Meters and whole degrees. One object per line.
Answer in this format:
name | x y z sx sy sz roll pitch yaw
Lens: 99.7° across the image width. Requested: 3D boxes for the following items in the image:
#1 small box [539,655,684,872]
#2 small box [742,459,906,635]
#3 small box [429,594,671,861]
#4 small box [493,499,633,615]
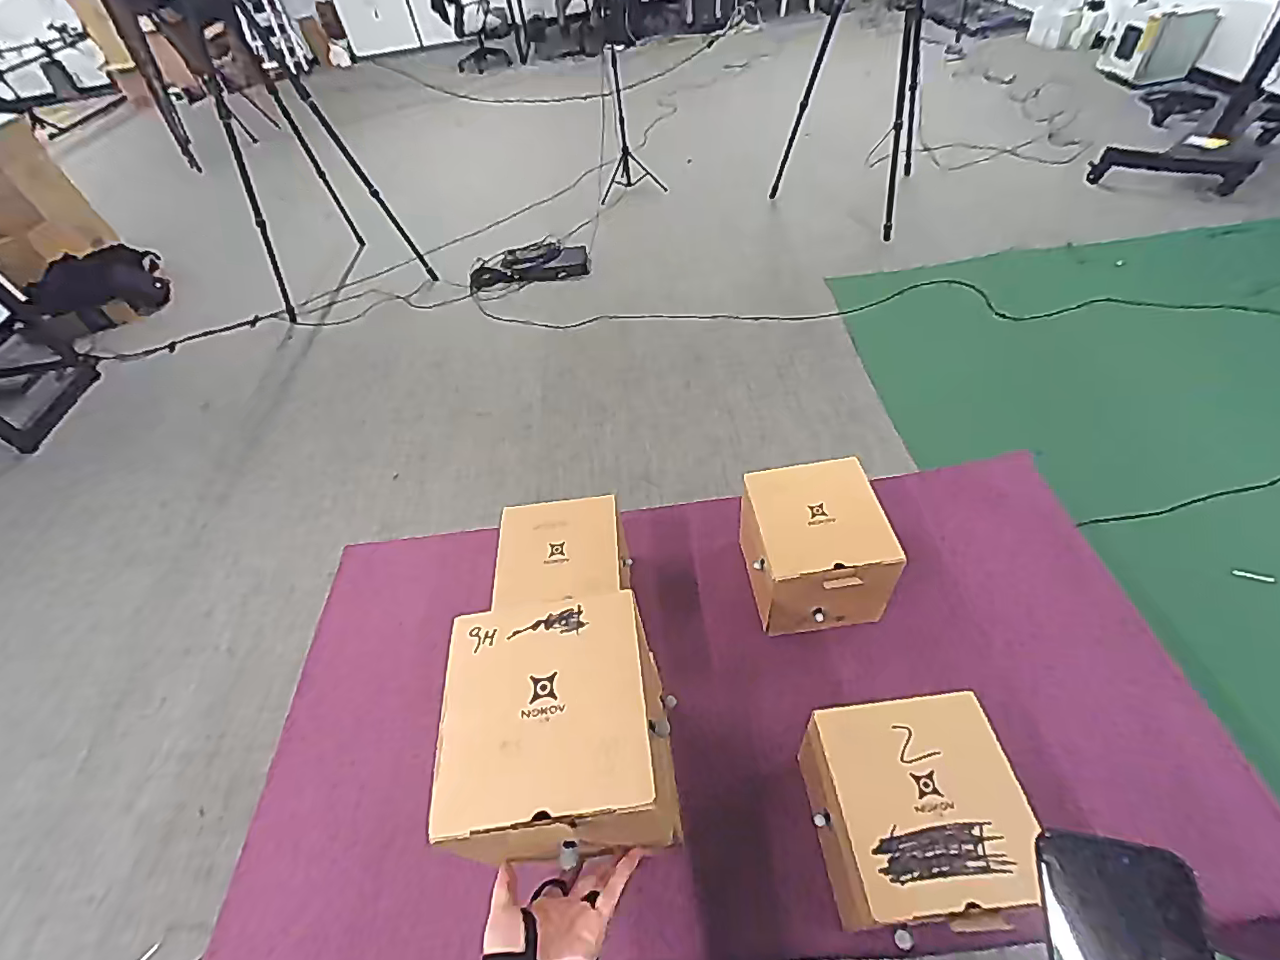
small box | -0.045 0.328 0.624 0.168 0.176 0.179 -10 49 2
small box | 0.245 0.098 0.775 0.168 0.176 0.179 -10 50 1
small box | -0.068 0.231 0.492 0.168 0.176 0.179 -9 49 1
small box | -0.100 0.154 0.784 0.168 0.176 0.179 -7 49 2
